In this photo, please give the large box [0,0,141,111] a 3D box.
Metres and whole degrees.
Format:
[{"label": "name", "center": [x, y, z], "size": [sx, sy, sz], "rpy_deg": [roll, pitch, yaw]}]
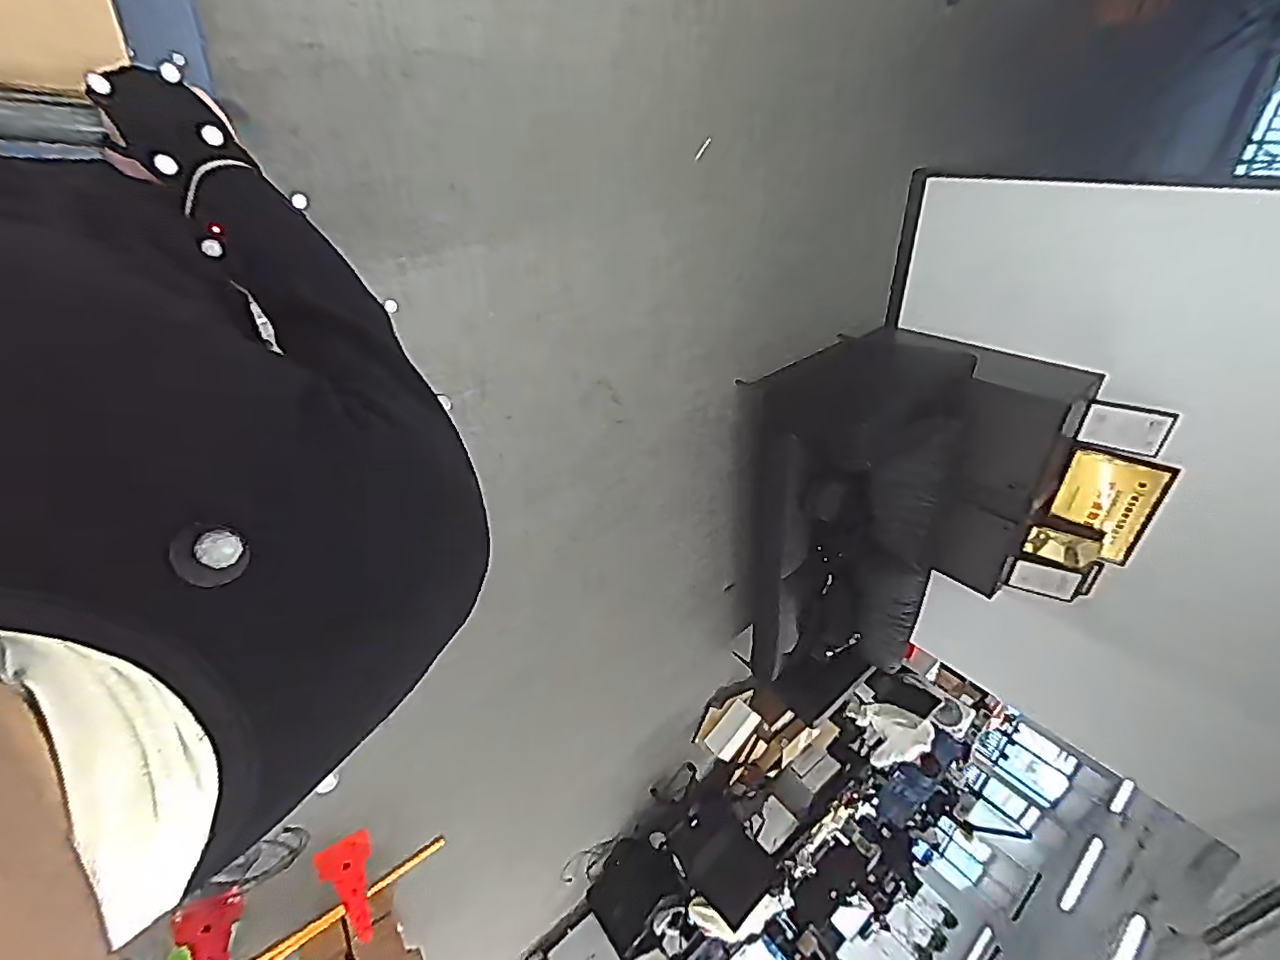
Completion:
[{"label": "large box", "center": [-0.900, -0.727, 0.679], "size": [0.320, 0.320, 0.408], "rpy_deg": [-18, 125, -36]}]
